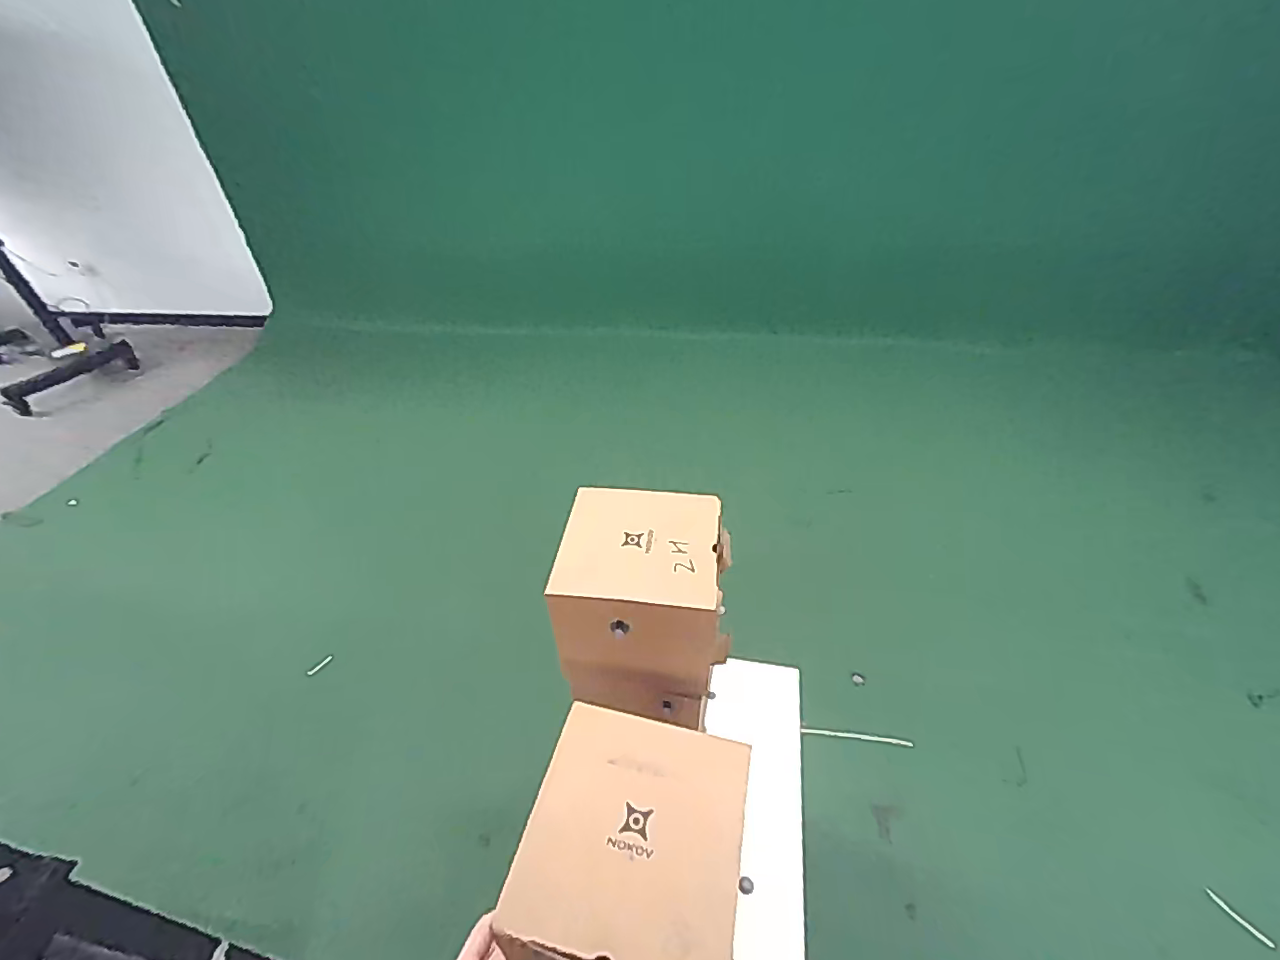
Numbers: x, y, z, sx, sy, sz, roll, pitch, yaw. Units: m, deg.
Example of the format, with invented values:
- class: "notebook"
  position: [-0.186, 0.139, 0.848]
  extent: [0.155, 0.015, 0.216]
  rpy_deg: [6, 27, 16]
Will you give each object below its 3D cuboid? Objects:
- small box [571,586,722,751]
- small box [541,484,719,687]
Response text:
- class: "small box"
  position: [0.009, 0.246, 0.748]
  extent: [0.179, 0.176, 0.168]
  rpy_deg: [9, 41, 12]
- class: "small box"
  position: [-0.001, 0.124, 0.638]
  extent: [0.179, 0.176, 0.168]
  rpy_deg: [4, 41, 6]
